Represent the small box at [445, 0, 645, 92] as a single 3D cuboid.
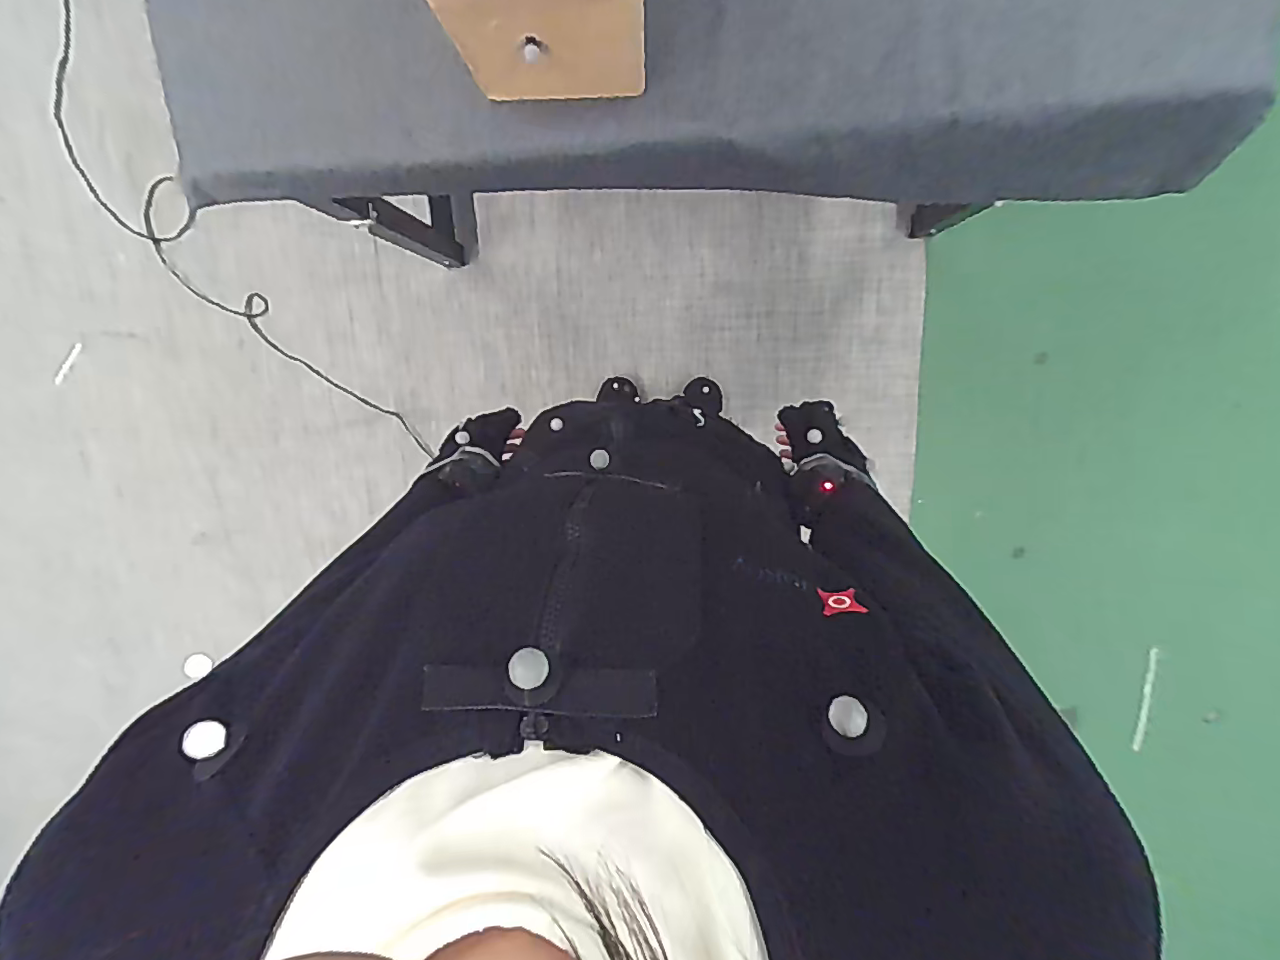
[{"bbox_3d":[-0.086,-0.501,0.513,0.179,0.176,0.168,0,100,3],"label":"small box"}]
